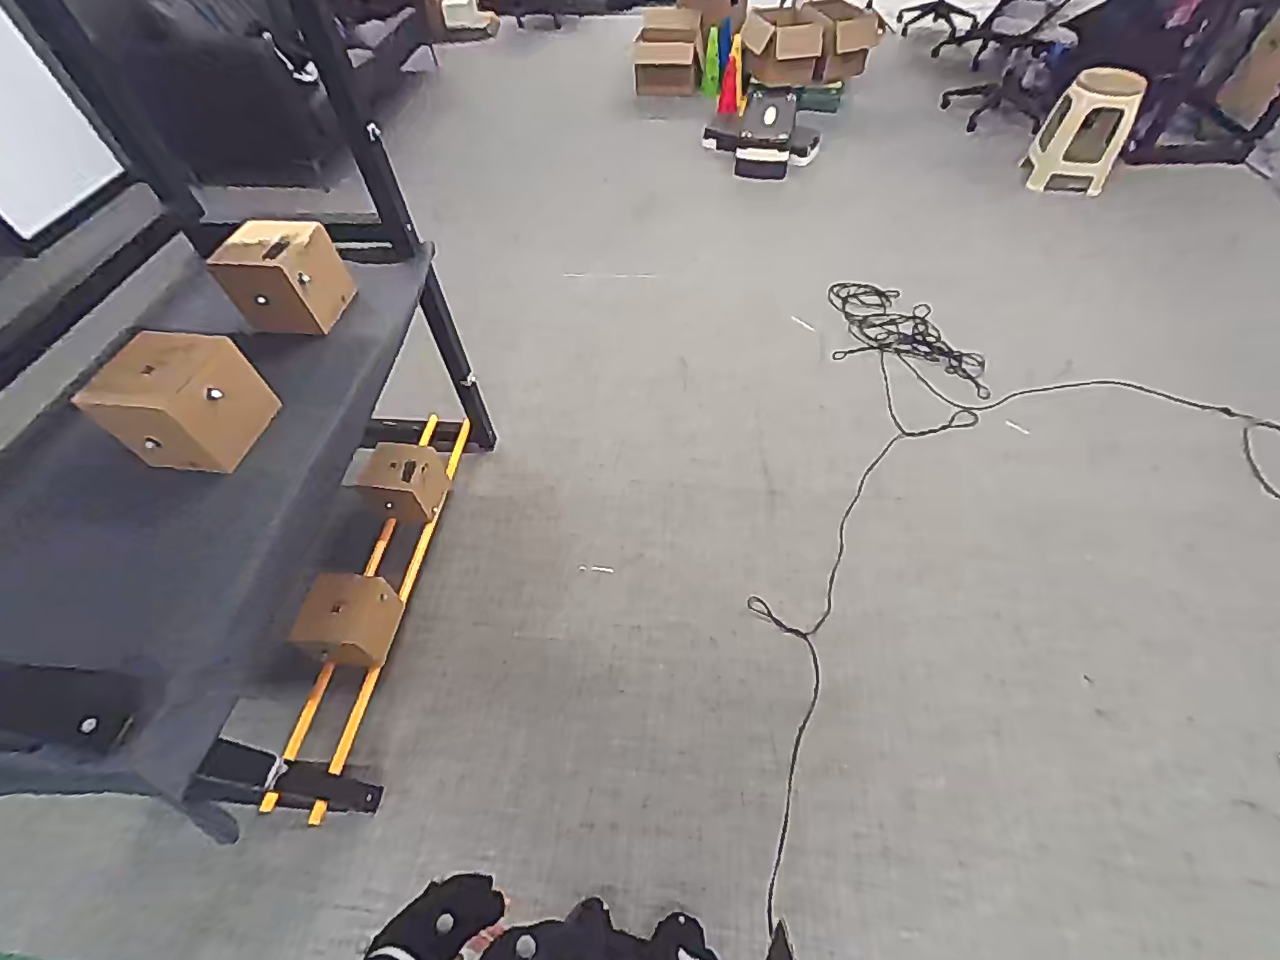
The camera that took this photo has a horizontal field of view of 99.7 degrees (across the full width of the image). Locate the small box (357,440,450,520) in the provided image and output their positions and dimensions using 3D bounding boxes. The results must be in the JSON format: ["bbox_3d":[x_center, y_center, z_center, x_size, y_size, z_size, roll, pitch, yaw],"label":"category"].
[{"bbox_3d":[-0.693,0.003,1.608,0.179,0.176,0.168,6,54,6],"label":"small box"}]

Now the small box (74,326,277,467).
[{"bbox_3d":[-0.786,-0.142,0.943,0.168,0.176,0.179,6,54,6],"label":"small box"}]
